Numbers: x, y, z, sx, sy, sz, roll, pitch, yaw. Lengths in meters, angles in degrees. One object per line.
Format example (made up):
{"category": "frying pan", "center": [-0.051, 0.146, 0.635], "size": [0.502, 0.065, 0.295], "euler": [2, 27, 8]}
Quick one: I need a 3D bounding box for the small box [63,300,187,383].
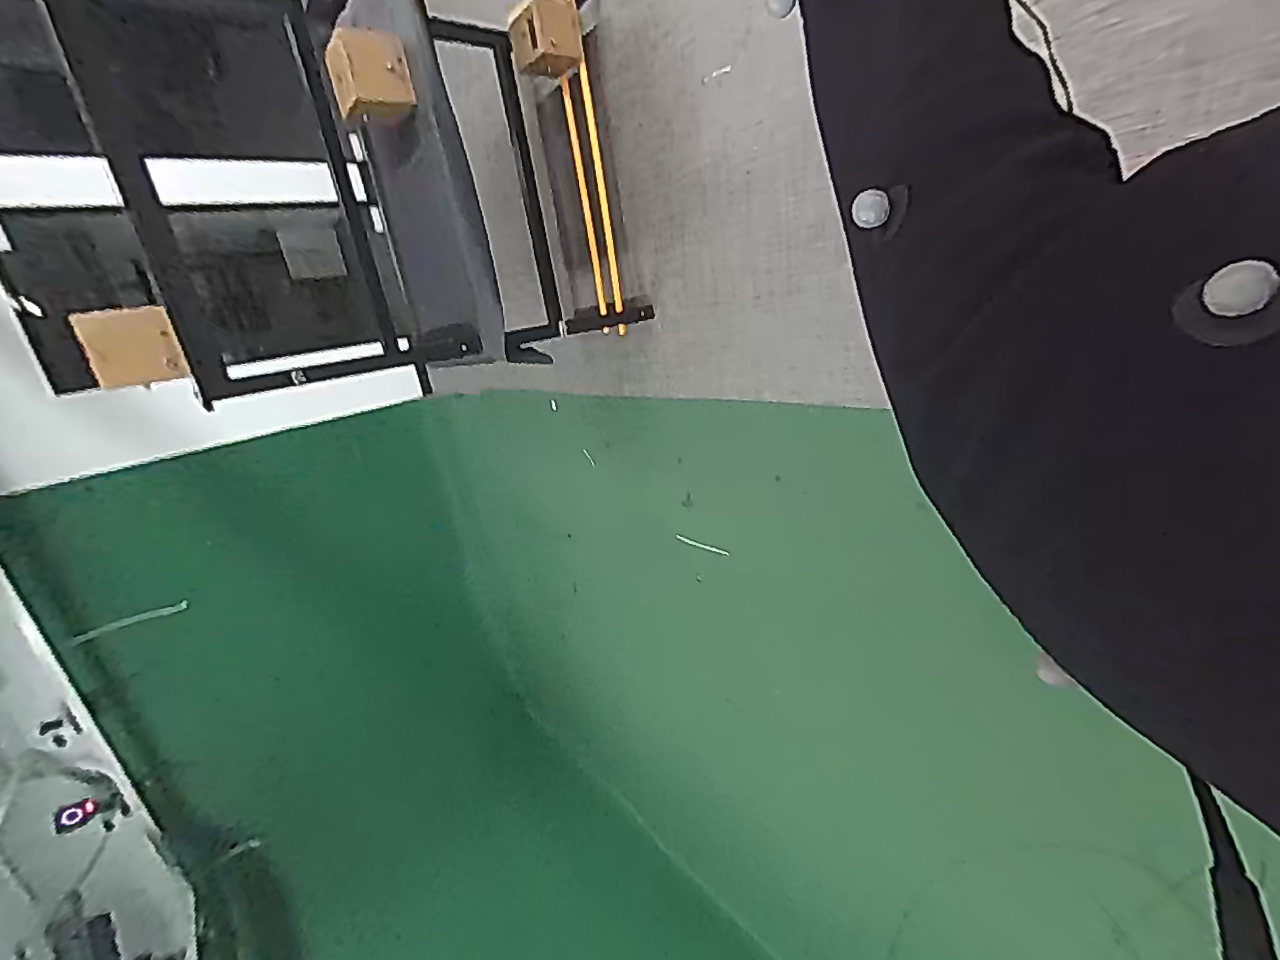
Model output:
{"category": "small box", "center": [-1.217, -0.330, 1.294], "size": [0.179, 0.176, 0.168], "euler": [10, 115, 50]}

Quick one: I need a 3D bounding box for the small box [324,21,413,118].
{"category": "small box", "center": [-0.766, -1.150, 1.531], "size": [0.179, 0.176, 0.168], "euler": [12, 118, 50]}
